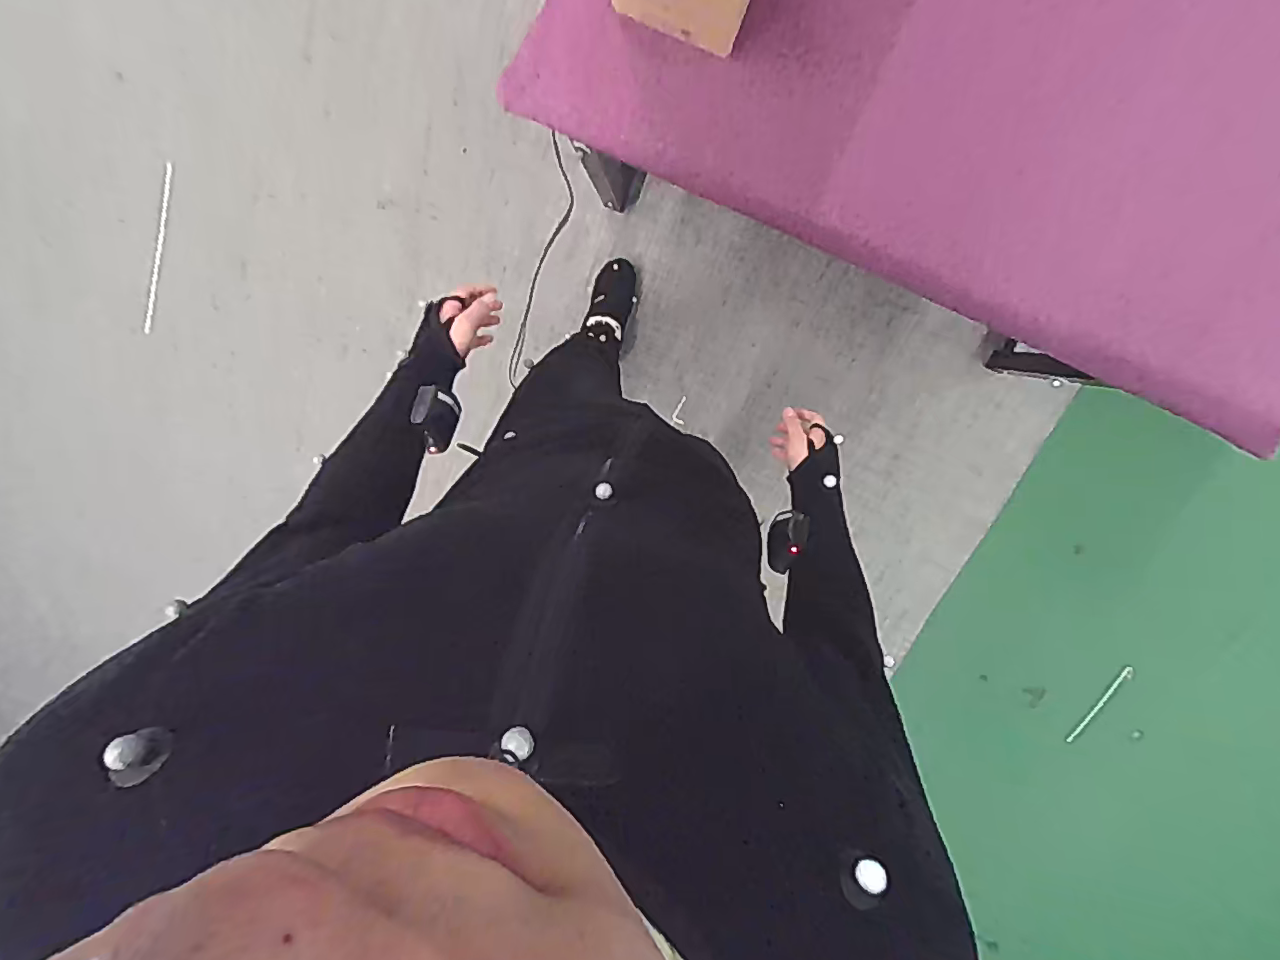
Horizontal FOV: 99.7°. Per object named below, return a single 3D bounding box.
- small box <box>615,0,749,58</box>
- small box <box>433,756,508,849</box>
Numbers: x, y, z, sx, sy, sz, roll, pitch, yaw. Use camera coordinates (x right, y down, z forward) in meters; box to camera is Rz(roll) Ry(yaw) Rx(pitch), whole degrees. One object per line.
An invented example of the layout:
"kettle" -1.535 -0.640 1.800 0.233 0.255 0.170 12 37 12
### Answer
"small box" 0.064 -0.635 0.607 0.168 0.176 0.179 21 105 -3
"small box" -0.562 1.078 1.817 0.168 0.176 0.179 26 105 -6
